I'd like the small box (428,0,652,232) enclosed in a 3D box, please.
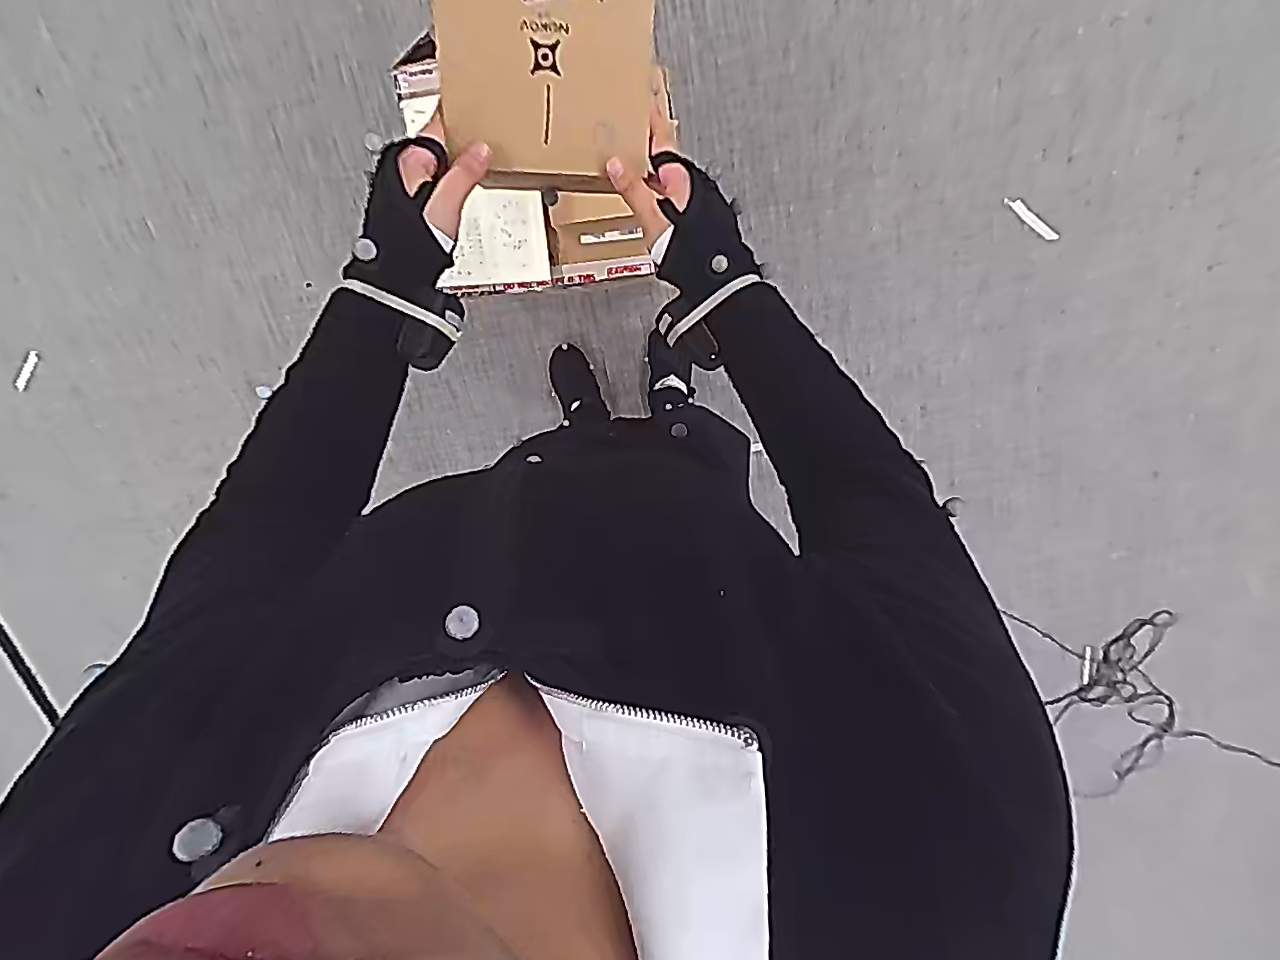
[{"bbox_3d":[-0.084,-0.328,0.494,0.168,0.176,0.179,0,114,-6],"label":"small box"}]

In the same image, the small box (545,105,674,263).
[{"bbox_3d":[-0.051,-0.417,0.789,0.179,0.176,0.168,-7,108,1],"label":"small box"}]
